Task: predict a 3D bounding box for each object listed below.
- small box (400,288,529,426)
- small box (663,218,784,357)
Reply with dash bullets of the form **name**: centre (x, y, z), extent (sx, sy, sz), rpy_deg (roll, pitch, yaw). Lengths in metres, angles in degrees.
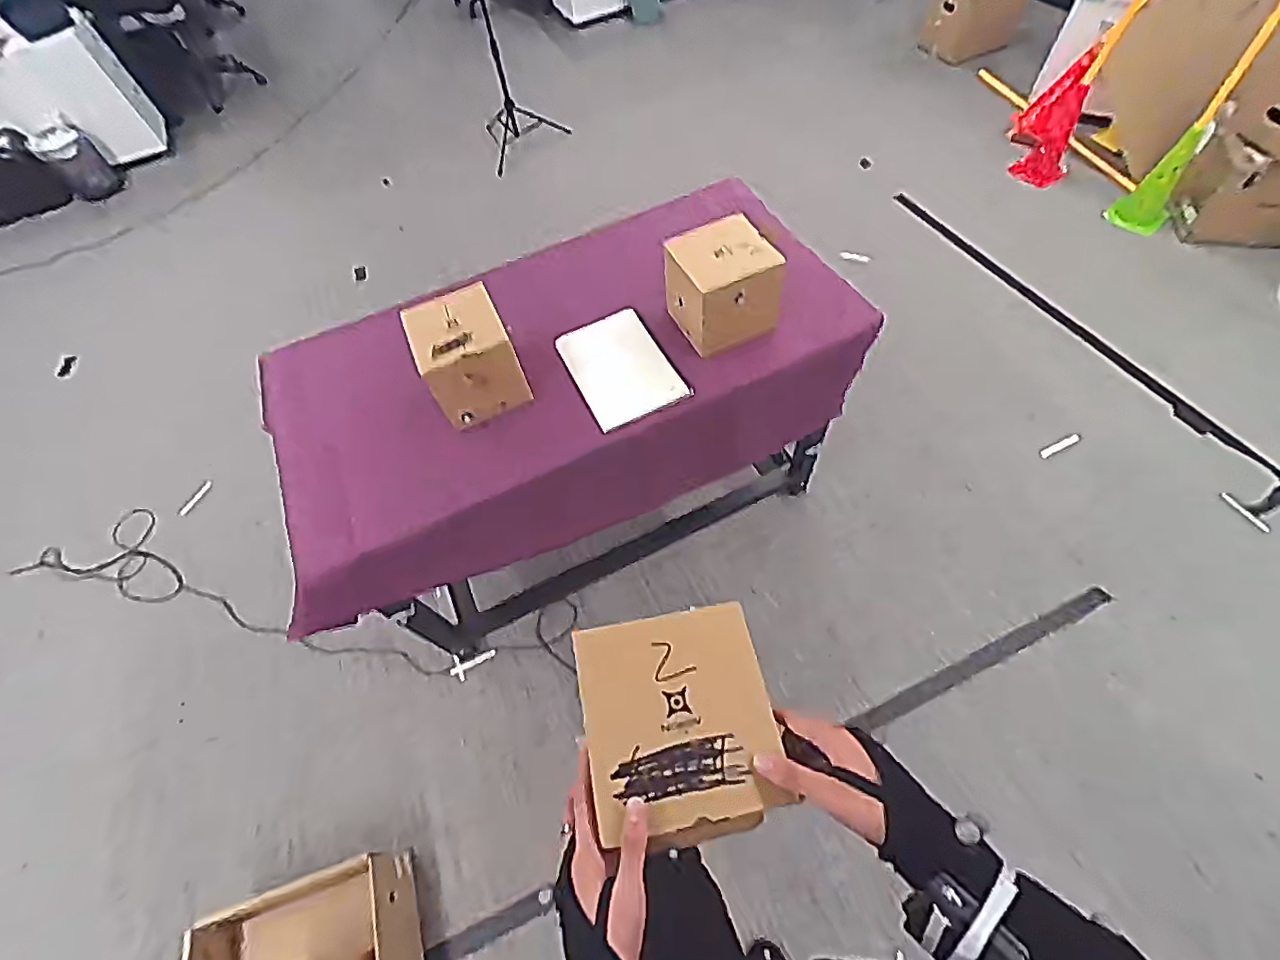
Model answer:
- **small box**: centre (-0.328, -0.226, 1.035), extent (0.168, 0.176, 0.179), rpy_deg (-24, 59, -9)
- **small box**: centre (0.162, -0.375, 1.072), extent (0.179, 0.176, 0.168), rpy_deg (-23, 60, -8)
